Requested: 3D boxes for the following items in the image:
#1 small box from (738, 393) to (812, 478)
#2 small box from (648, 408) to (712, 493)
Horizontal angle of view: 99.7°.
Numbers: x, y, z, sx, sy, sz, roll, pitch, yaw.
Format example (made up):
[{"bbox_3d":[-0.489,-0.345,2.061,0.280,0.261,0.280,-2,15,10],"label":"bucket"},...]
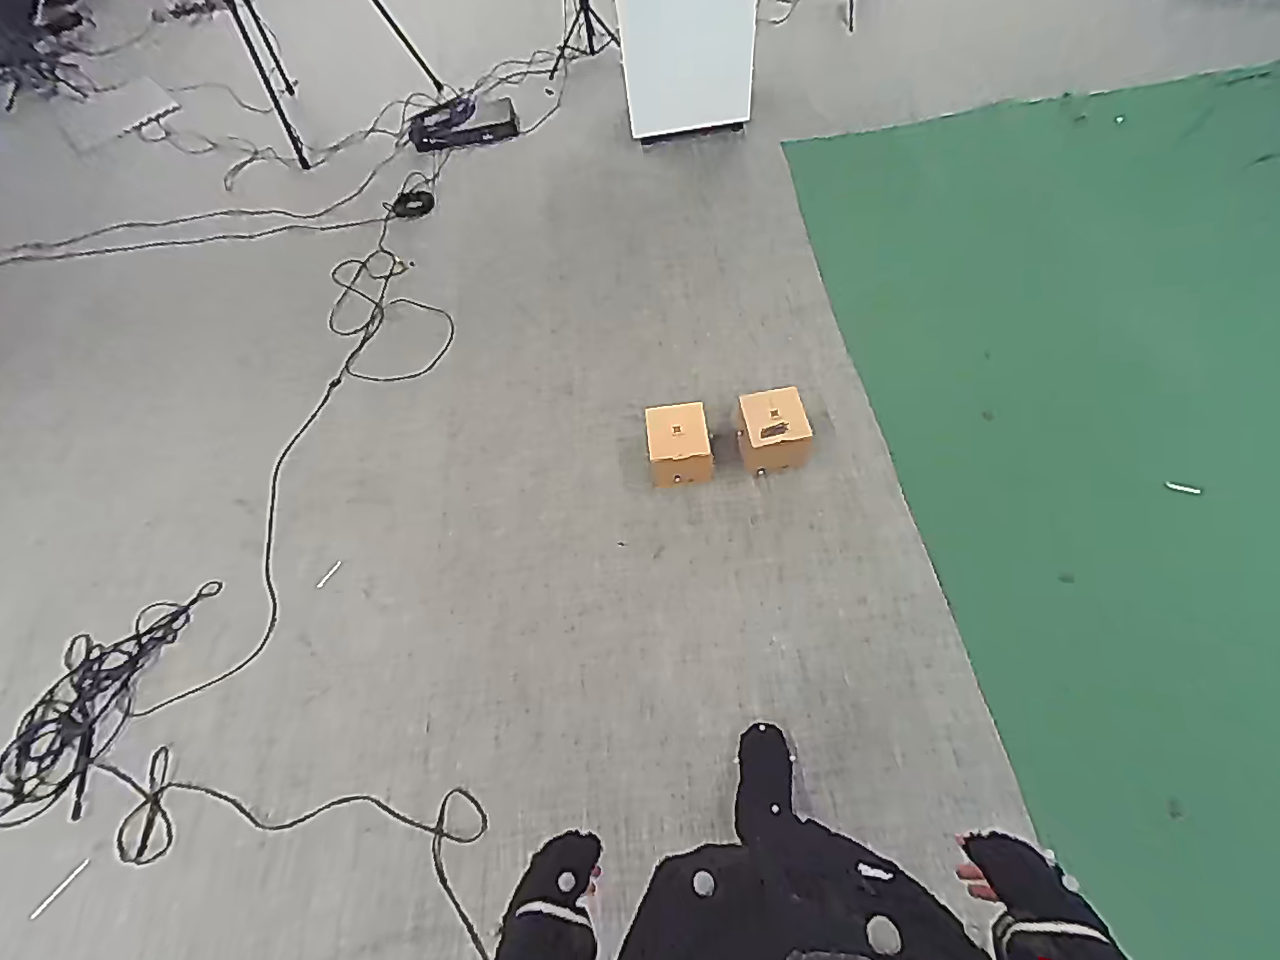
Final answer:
[{"bbox_3d":[0.380,-0.120,1.549,0.168,0.176,0.179,-10,61,2],"label":"small box"},{"bbox_3d":[0.114,-0.082,1.562,0.168,0.176,0.179,-7,62,3],"label":"small box"}]
